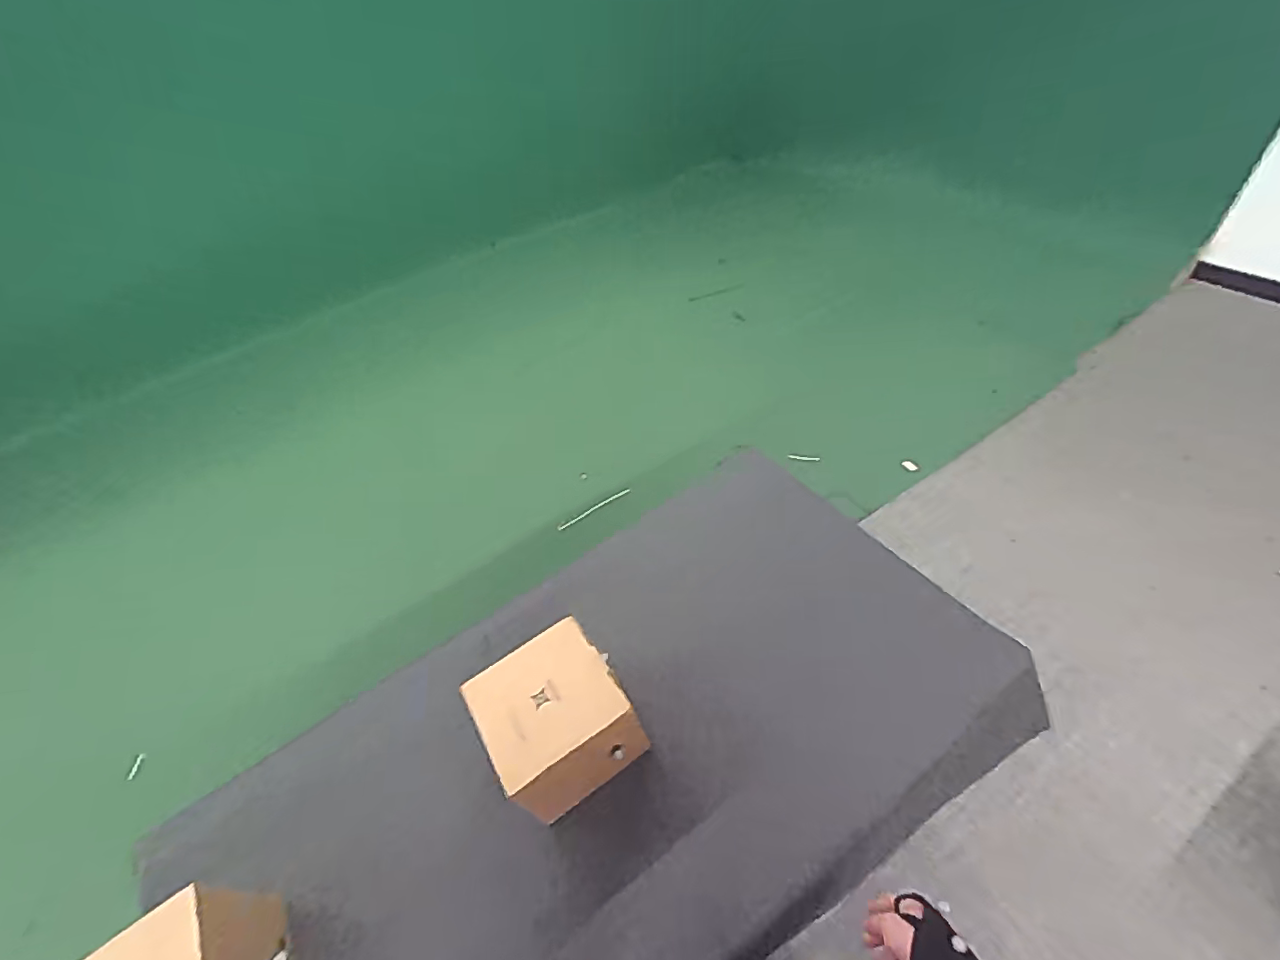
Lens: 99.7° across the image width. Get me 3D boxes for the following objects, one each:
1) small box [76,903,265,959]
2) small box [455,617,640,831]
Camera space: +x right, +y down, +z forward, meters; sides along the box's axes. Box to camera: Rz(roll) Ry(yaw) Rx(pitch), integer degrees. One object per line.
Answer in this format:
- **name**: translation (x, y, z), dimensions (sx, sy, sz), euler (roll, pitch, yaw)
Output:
- **small box**: translation (-0.507, 0.578, 0.539), dimensions (0.179, 0.176, 0.168), euler (-32, 51, -22)
- **small box**: translation (-0.113, 0.326, 0.726), dimensions (0.179, 0.176, 0.168), euler (-31, 49, -19)
